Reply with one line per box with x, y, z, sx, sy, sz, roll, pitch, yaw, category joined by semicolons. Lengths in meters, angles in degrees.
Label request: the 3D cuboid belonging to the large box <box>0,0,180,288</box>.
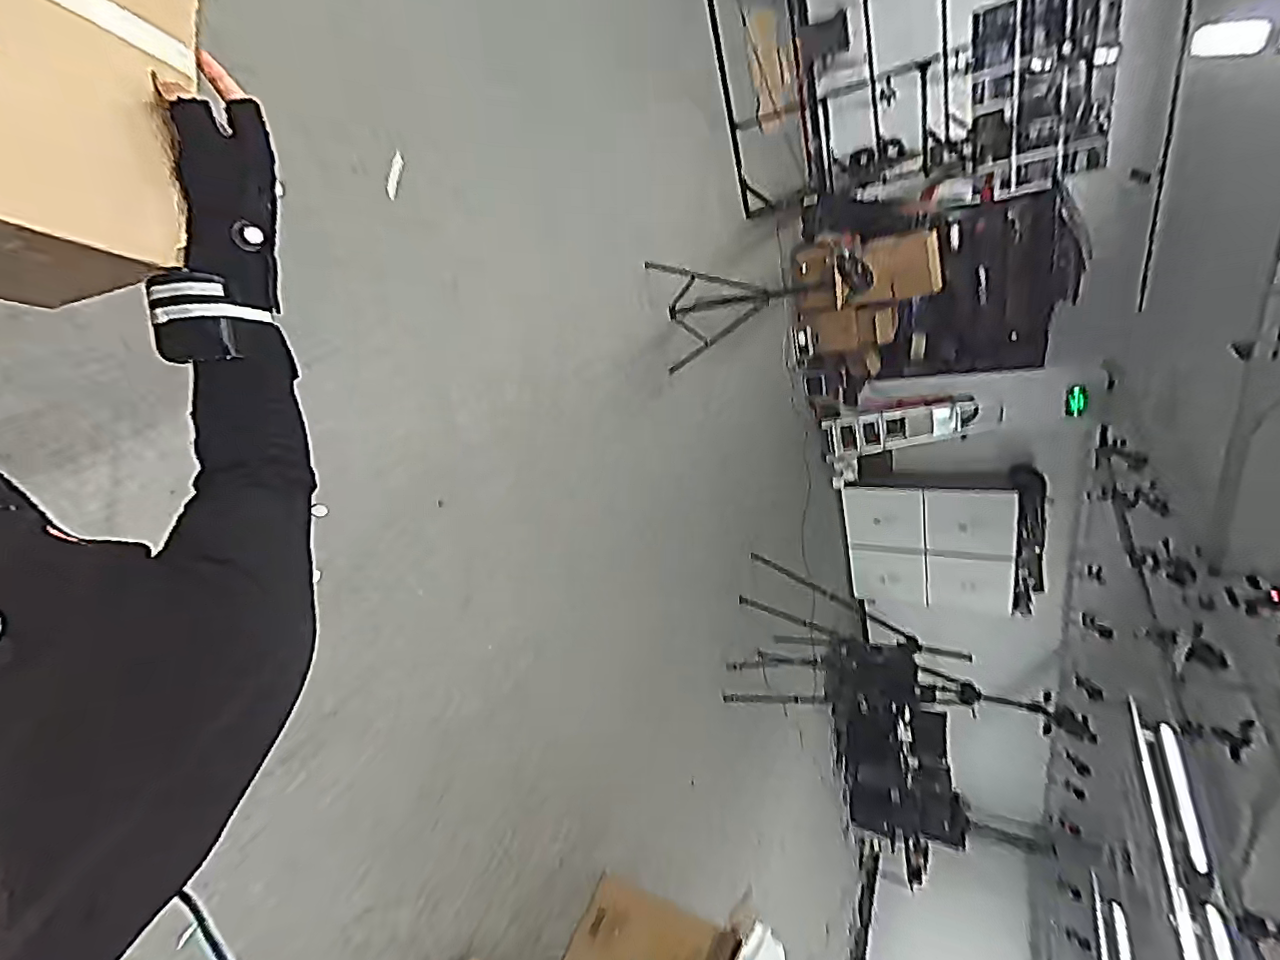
-0.589;-0.342;0.321;0.408;0.320;0.320;1;93;-61;large box
